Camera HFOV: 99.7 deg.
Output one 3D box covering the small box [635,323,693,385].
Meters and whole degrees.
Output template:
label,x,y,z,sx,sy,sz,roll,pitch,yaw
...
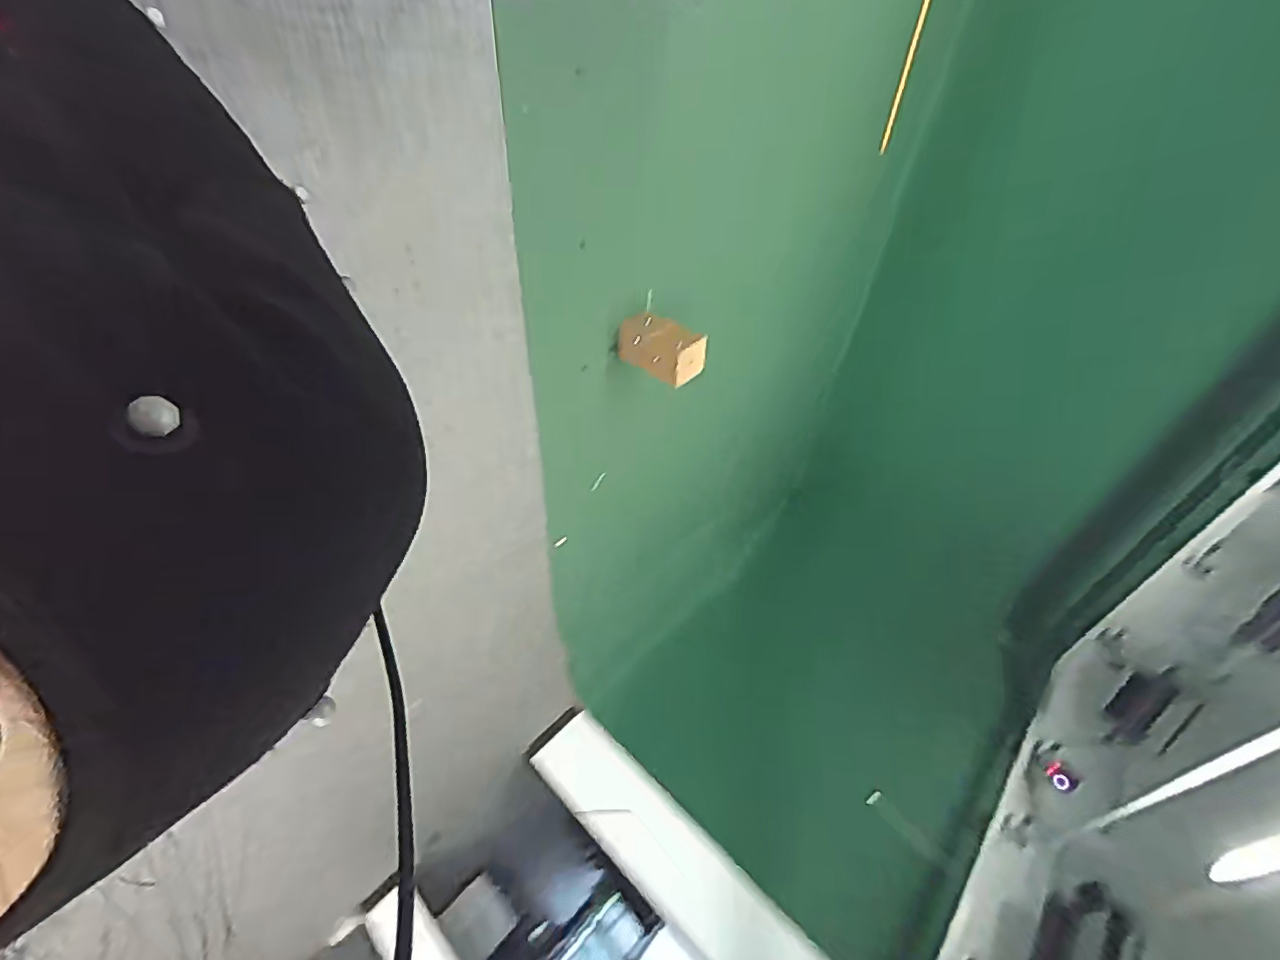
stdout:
label,x,y,z,sx,sy,sz,roll,pitch,yaw
small box,0.098,-0.533,2.264,0.179,0.176,0.168,-37,148,-31
